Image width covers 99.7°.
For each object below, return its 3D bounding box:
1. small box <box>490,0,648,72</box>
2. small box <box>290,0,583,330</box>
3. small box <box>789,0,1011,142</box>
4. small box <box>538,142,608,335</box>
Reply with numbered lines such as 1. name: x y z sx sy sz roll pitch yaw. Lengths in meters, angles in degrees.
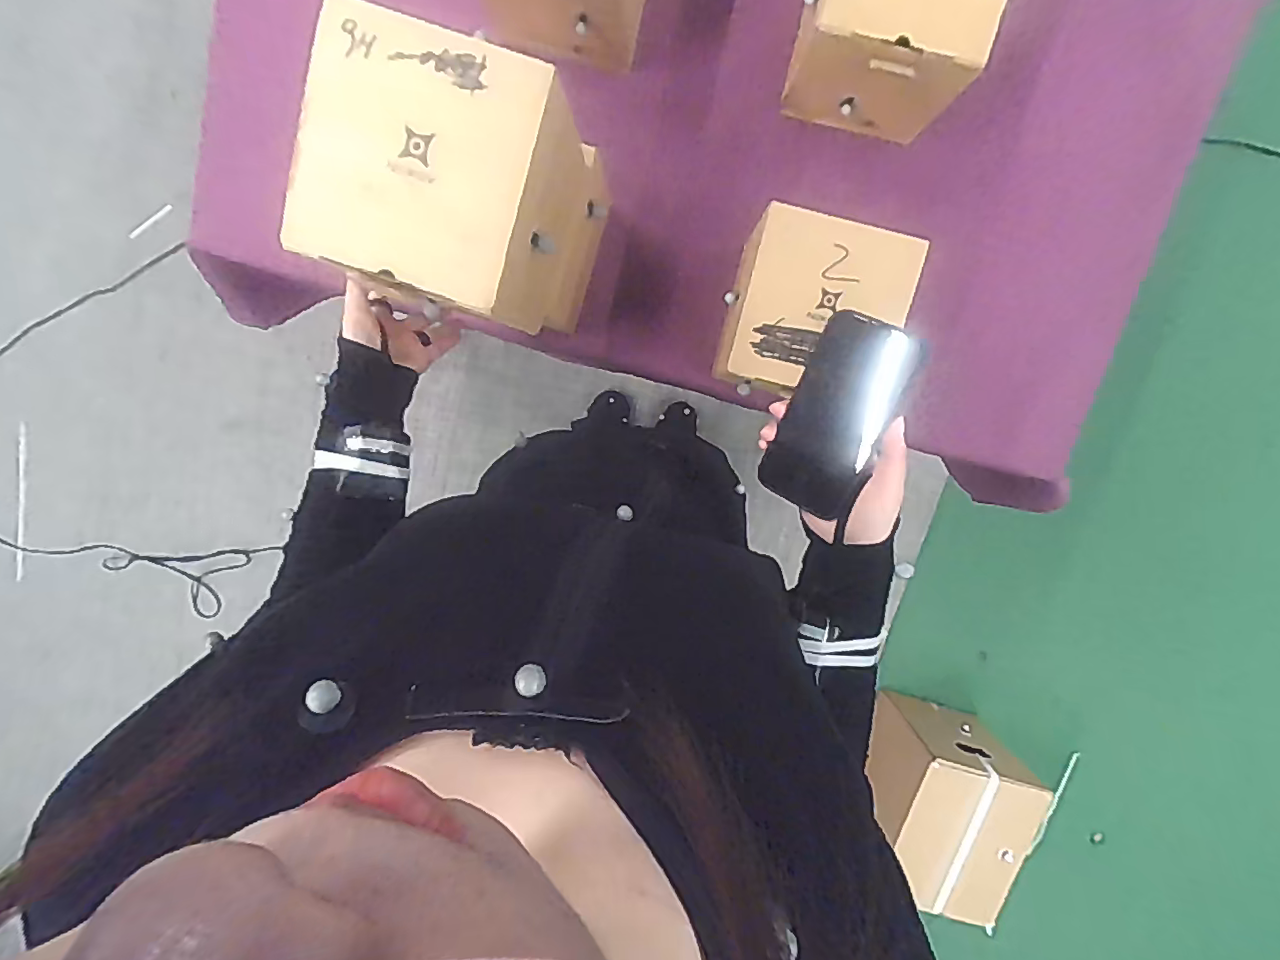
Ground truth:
1. small box: -0.069 -0.581 0.570 0.168 0.176 0.179 15 100 -2
2. small box: -0.156 -0.239 0.465 0.168 0.176 0.179 18 101 -2
3. small box: 0.271 -0.501 0.572 0.168 0.176 0.179 13 101 0
4. small box: -0.140 -0.282 0.624 0.168 0.176 0.179 18 100 -1
